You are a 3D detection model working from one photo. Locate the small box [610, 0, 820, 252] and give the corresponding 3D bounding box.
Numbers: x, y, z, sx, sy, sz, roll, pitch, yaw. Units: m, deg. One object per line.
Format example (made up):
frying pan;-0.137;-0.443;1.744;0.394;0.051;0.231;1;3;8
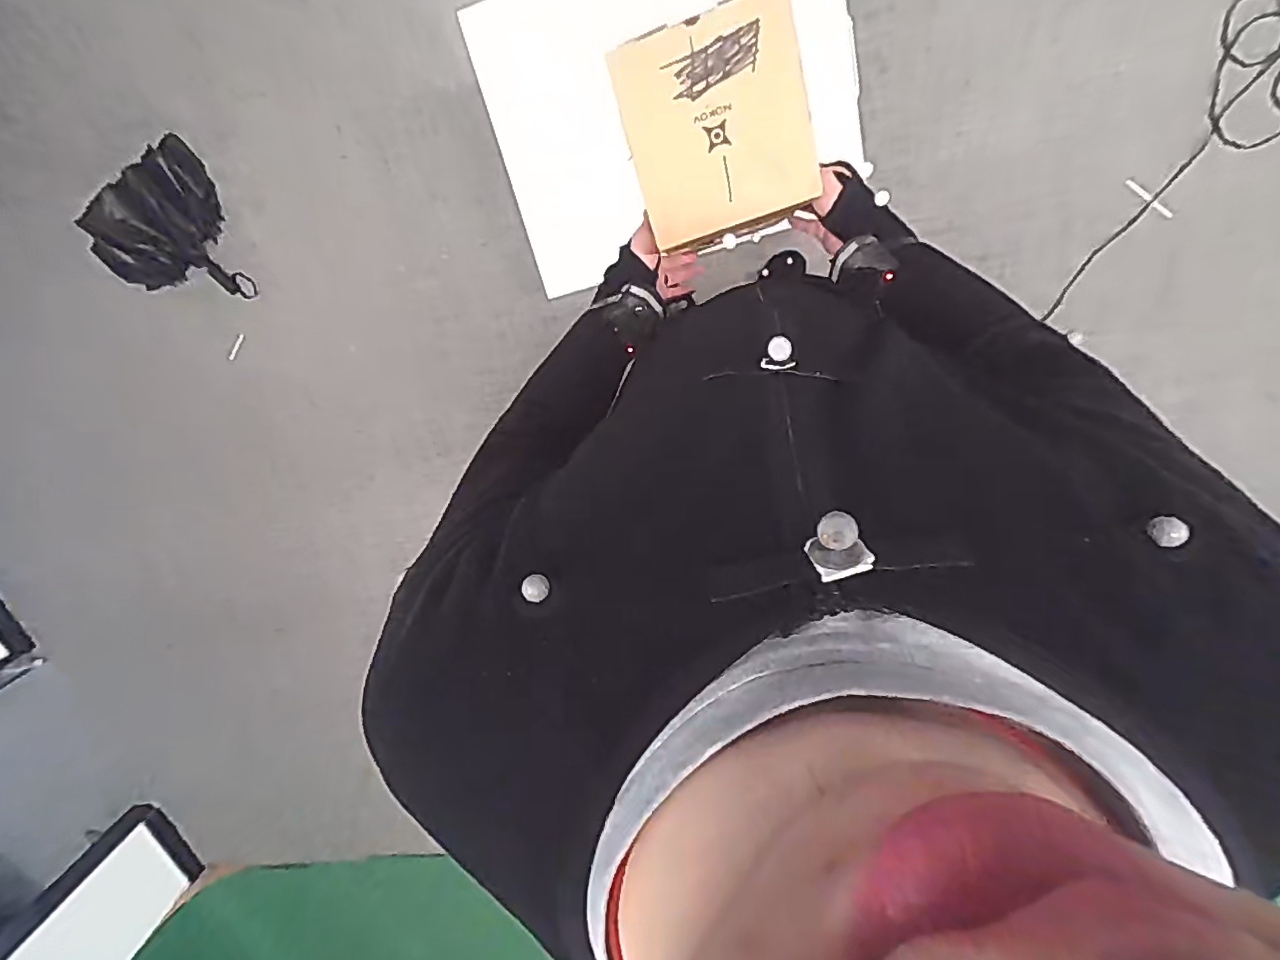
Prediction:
small box;0.079;-0.356;0.575;0.168;0.176;0.179;-14;110;12
